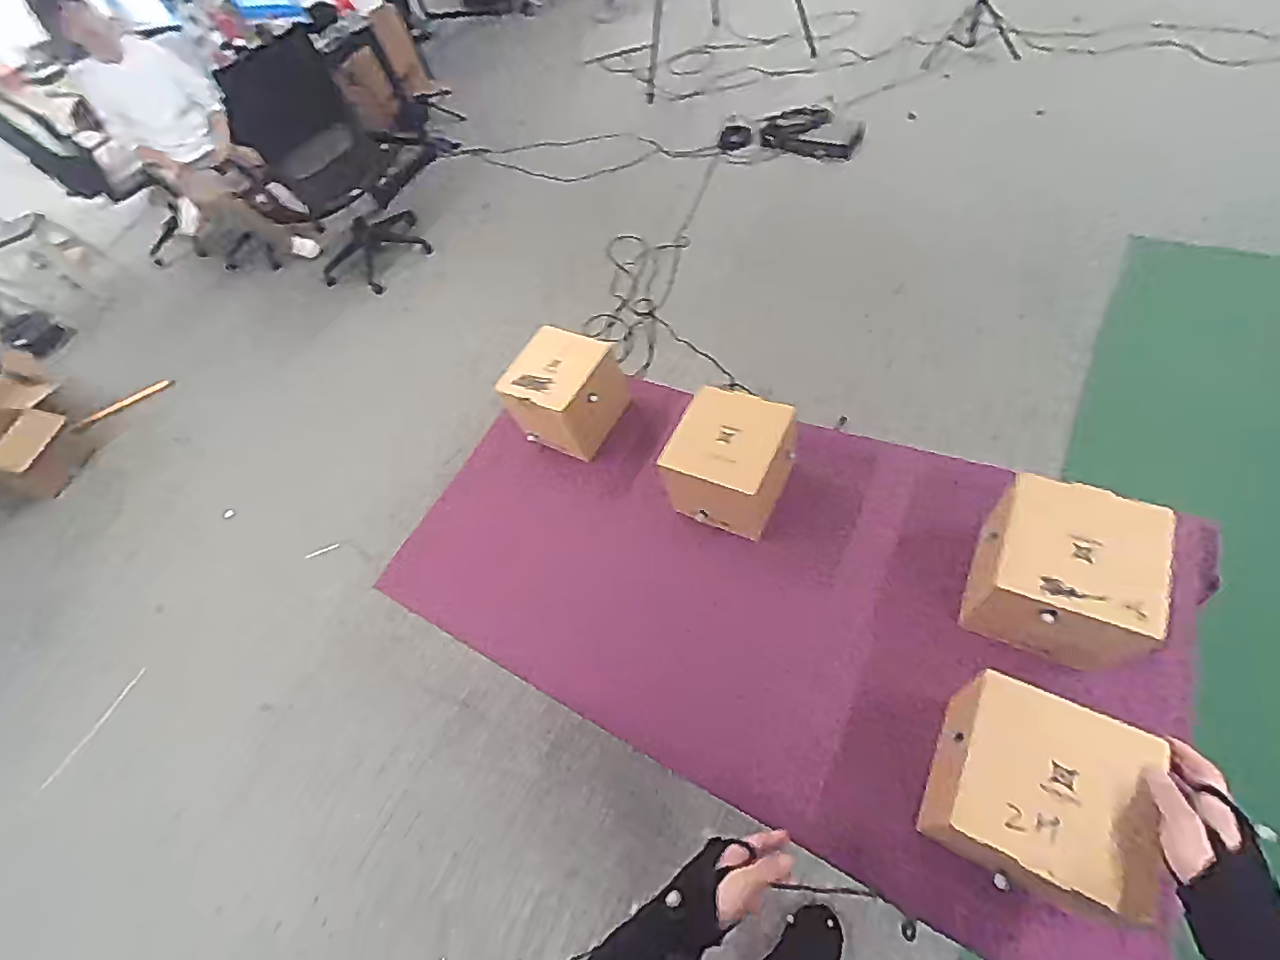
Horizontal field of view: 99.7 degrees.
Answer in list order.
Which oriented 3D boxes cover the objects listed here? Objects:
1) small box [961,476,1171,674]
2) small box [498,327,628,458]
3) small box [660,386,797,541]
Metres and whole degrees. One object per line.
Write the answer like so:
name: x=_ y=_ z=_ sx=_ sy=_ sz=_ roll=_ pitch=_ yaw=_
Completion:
small box: x=0.553 y=0.128 z=0.721 sx=0.168 sy=0.176 sz=0.179 roll=19 pitch=64 yaw=25
small box: x=-0.143 y=-0.170 z=1.084 sx=0.168 sy=0.176 sz=0.179 roll=22 pitch=67 yaw=25
small box: x=0.155 y=-0.026 z=0.923 sx=0.168 sy=0.176 sz=0.179 roll=20 pitch=66 yaw=25
